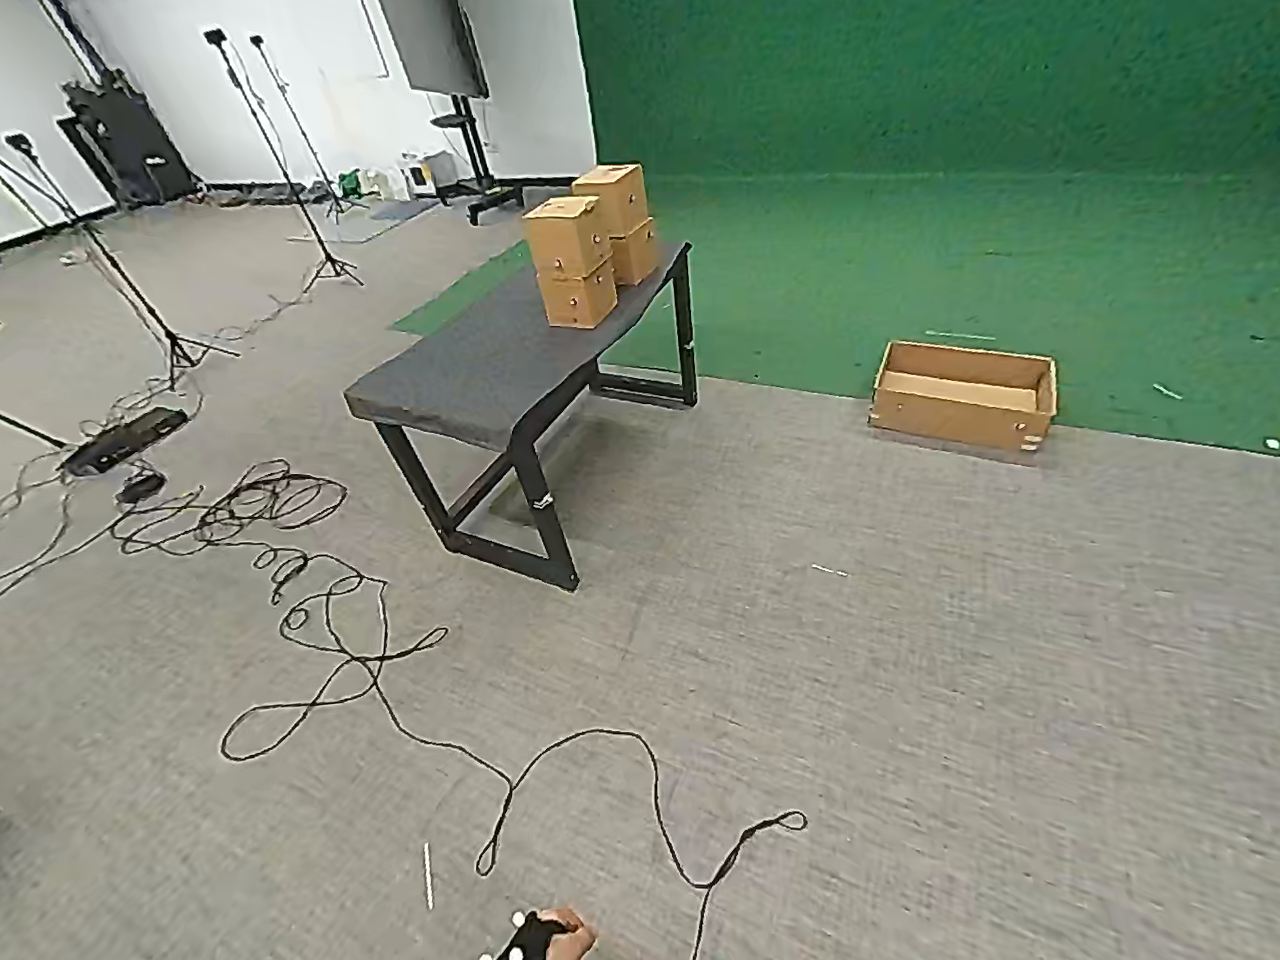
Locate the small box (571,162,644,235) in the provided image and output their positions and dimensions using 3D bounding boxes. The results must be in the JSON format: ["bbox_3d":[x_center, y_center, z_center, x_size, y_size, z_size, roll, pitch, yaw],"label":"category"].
[{"bbox_3d":[-0.098,-0.924,1.771,0.168,0.176,0.179,15,50,26],"label":"small box"}]

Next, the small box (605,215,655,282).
[{"bbox_3d":[-0.057,-0.812,1.885,0.168,0.176,0.179,16,50,28],"label":"small box"}]

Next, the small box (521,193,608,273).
[{"bbox_3d":[-0.211,-0.718,1.578,0.179,0.176,0.168,13,48,23],"label":"small box"}]

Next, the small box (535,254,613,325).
[{"bbox_3d":[-0.198,-0.603,1.694,0.168,0.176,0.179,13,46,22],"label":"small box"}]
